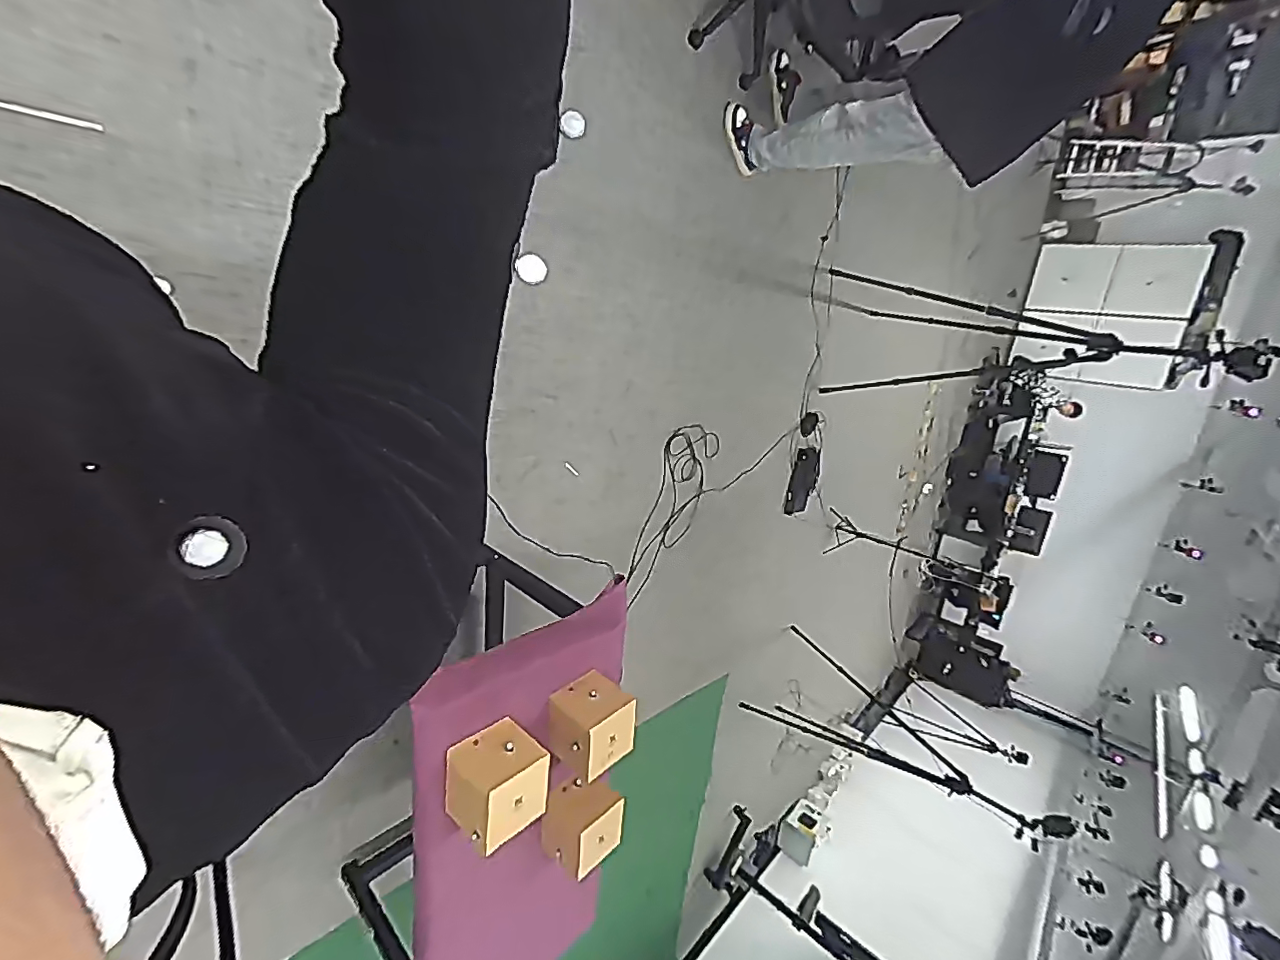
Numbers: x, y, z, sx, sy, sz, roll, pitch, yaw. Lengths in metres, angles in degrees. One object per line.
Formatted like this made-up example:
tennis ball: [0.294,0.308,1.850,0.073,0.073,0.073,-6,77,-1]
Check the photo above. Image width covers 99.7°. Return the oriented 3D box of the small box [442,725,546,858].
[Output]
small box: [-0.336,0.696,1.239,0.168,0.176,0.179,-12,115,-49]

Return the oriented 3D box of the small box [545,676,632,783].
small box: [-0.142,0.656,1.452,0.168,0.176,0.179,-15,117,-45]

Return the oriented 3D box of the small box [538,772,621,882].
small box: [-0.177,0.978,1.547,0.168,0.176,0.179,-14,115,-47]
